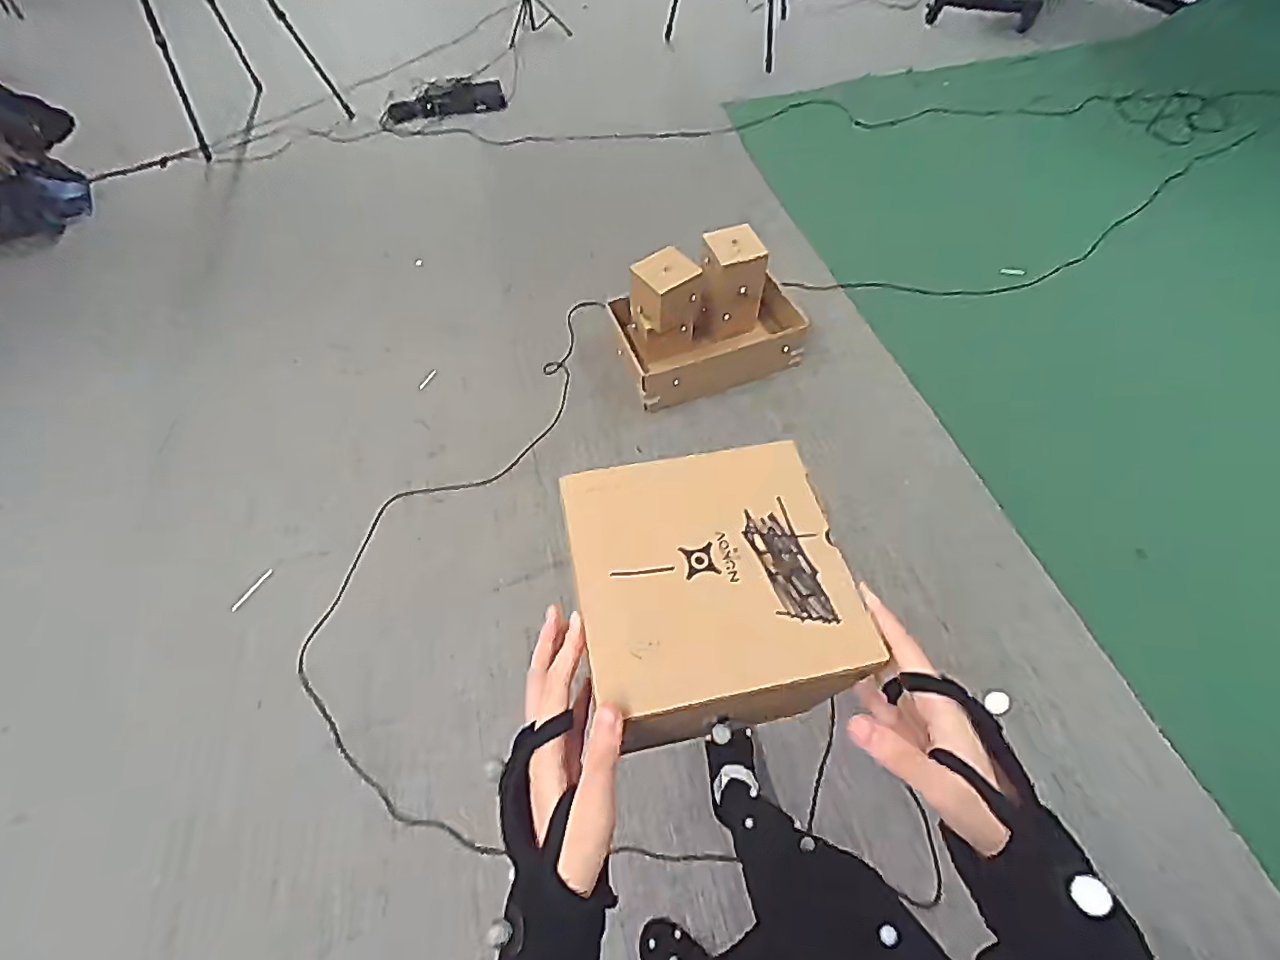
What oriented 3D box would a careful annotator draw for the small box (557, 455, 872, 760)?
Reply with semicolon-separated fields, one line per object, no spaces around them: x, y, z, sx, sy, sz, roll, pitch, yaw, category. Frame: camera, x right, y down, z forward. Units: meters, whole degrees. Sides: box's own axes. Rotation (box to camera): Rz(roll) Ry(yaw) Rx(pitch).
0.037;0.104;0.418;0.179;0.176;0.168;-9;58;-8;small box

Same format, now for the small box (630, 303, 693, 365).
0.076;-0.534;1.921;0.179;0.176;0.168;-18;60;-9;small box

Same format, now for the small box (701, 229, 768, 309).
0.310;-0.709;1.824;0.168;0.176;0.179;-17;59;-7;small box

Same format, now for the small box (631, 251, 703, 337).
0.085;-0.609;1.776;0.179;0.176;0.168;-33;63;-17;small box
